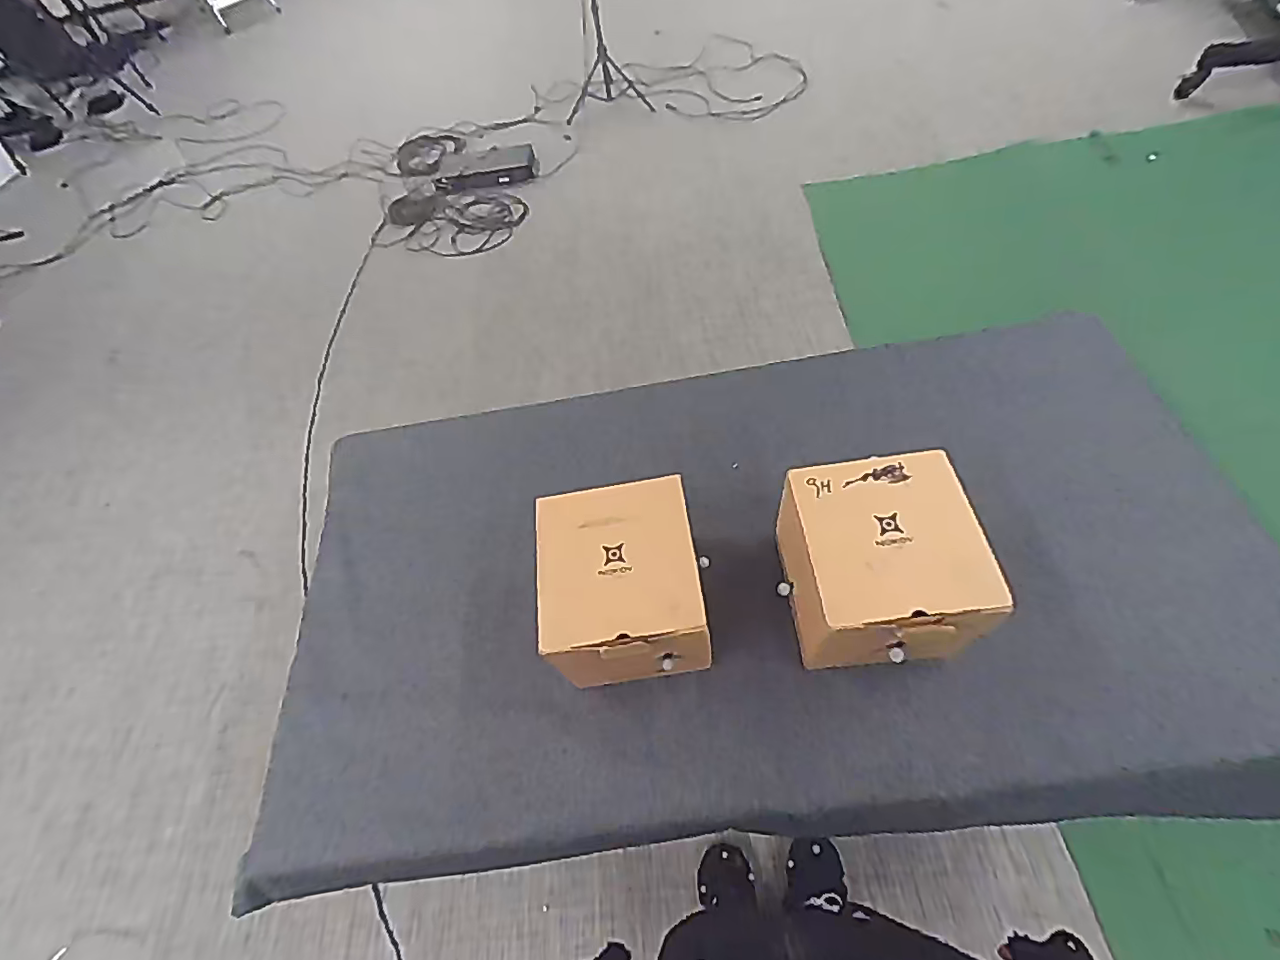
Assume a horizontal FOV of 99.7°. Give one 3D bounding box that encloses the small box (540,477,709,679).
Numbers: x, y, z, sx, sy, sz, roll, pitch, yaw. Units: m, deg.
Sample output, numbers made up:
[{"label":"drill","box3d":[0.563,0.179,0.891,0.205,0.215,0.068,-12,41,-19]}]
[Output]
[{"label":"small box","box3d":[-0.014,0.123,0.633,0.168,0.176,0.179,-10,57,1]}]
